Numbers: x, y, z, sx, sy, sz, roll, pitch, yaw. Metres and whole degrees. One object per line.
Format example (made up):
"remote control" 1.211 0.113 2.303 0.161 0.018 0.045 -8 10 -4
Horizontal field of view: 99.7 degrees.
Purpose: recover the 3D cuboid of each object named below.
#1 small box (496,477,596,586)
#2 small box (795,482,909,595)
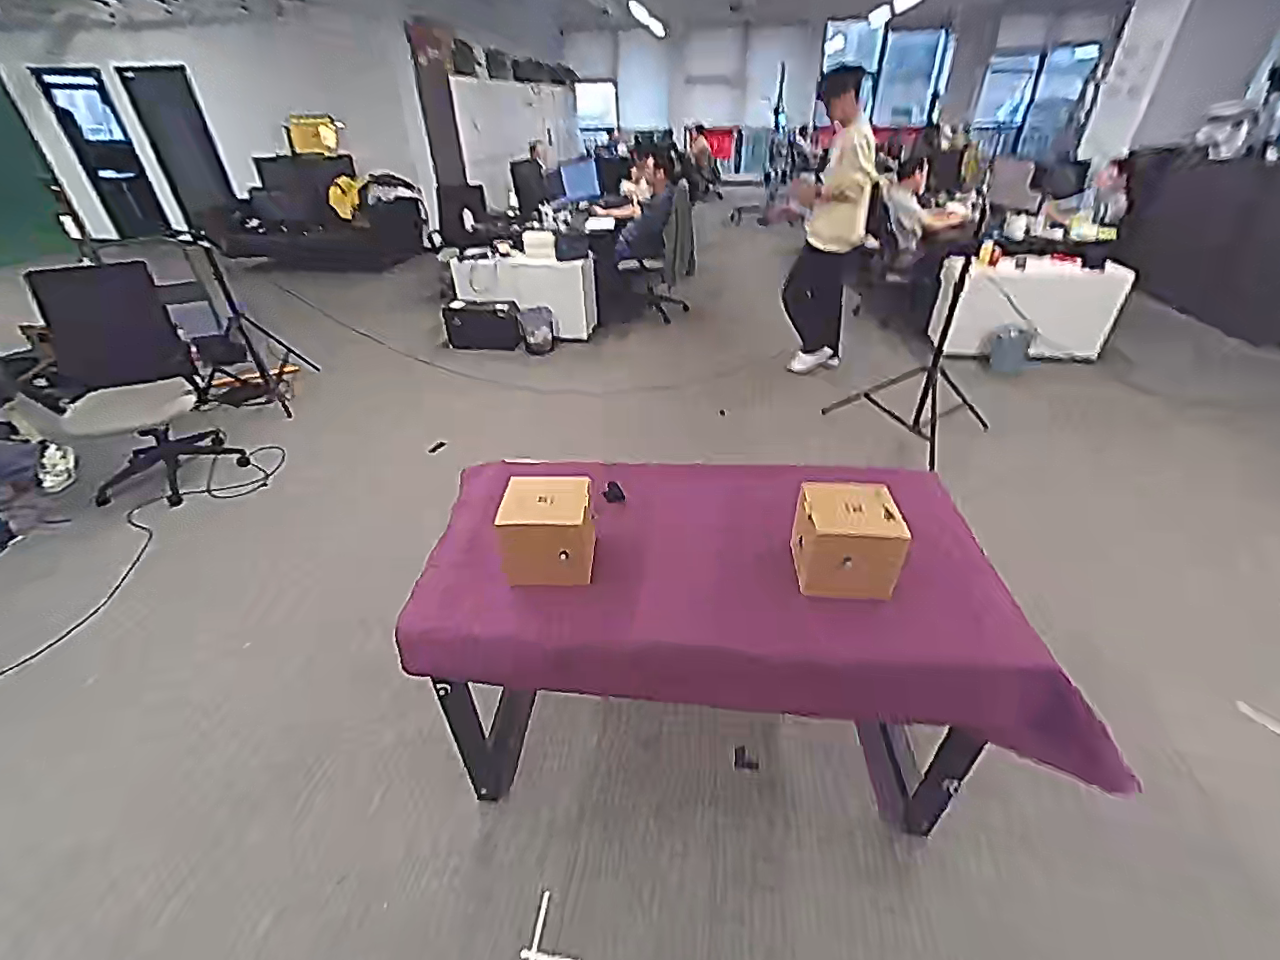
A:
"small box" -0.189 0.110 1.148 0.179 0.176 0.168 -2 33 2
"small box" 0.419 0.120 1.106 0.179 0.176 0.168 0 34 5
